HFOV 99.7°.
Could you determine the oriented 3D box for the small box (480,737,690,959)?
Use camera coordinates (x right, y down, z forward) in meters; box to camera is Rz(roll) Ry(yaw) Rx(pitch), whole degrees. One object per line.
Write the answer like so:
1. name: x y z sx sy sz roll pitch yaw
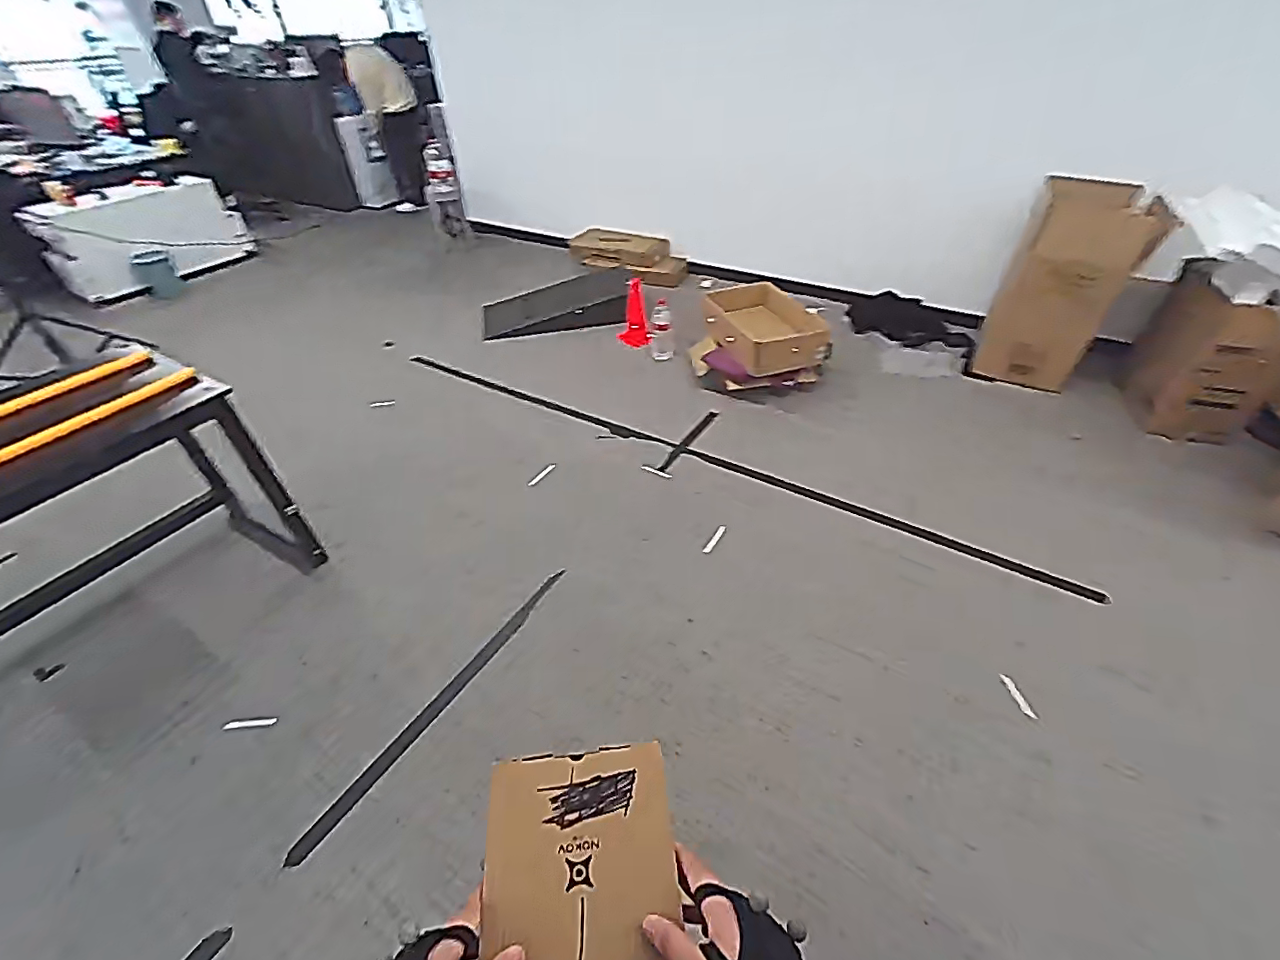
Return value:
1. small box: -0.050 0.376 0.527 0.168 0.176 0.179 -7 49 -4
